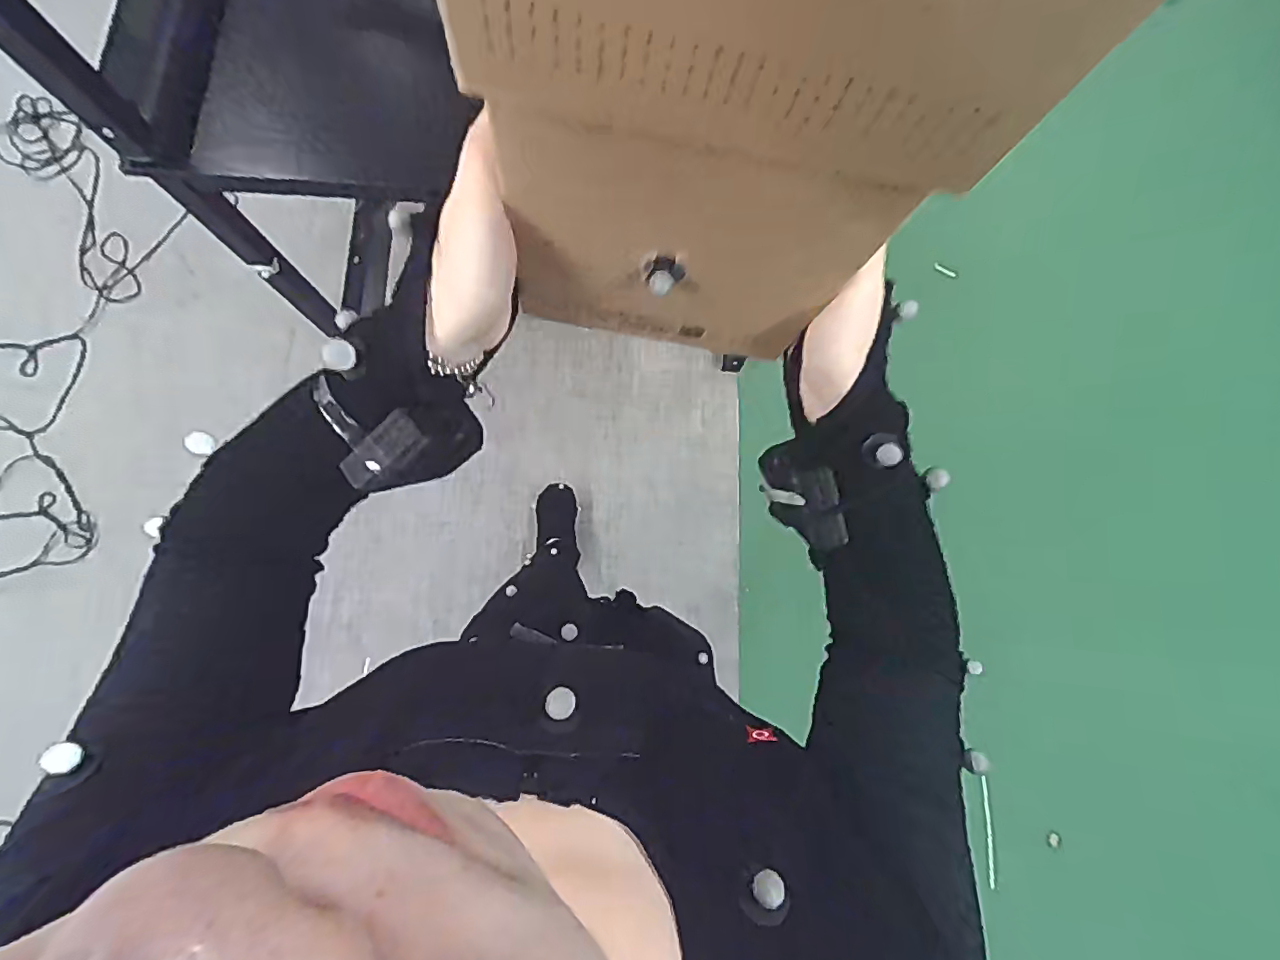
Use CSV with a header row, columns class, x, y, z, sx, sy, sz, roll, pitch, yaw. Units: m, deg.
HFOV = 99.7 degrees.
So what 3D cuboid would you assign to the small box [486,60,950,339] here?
class,x,y,z,sx,sy,sz,roll,pitch,yaw
small box,0.030,-0.194,0.276,0.168,0.176,0.179,9,78,-7
